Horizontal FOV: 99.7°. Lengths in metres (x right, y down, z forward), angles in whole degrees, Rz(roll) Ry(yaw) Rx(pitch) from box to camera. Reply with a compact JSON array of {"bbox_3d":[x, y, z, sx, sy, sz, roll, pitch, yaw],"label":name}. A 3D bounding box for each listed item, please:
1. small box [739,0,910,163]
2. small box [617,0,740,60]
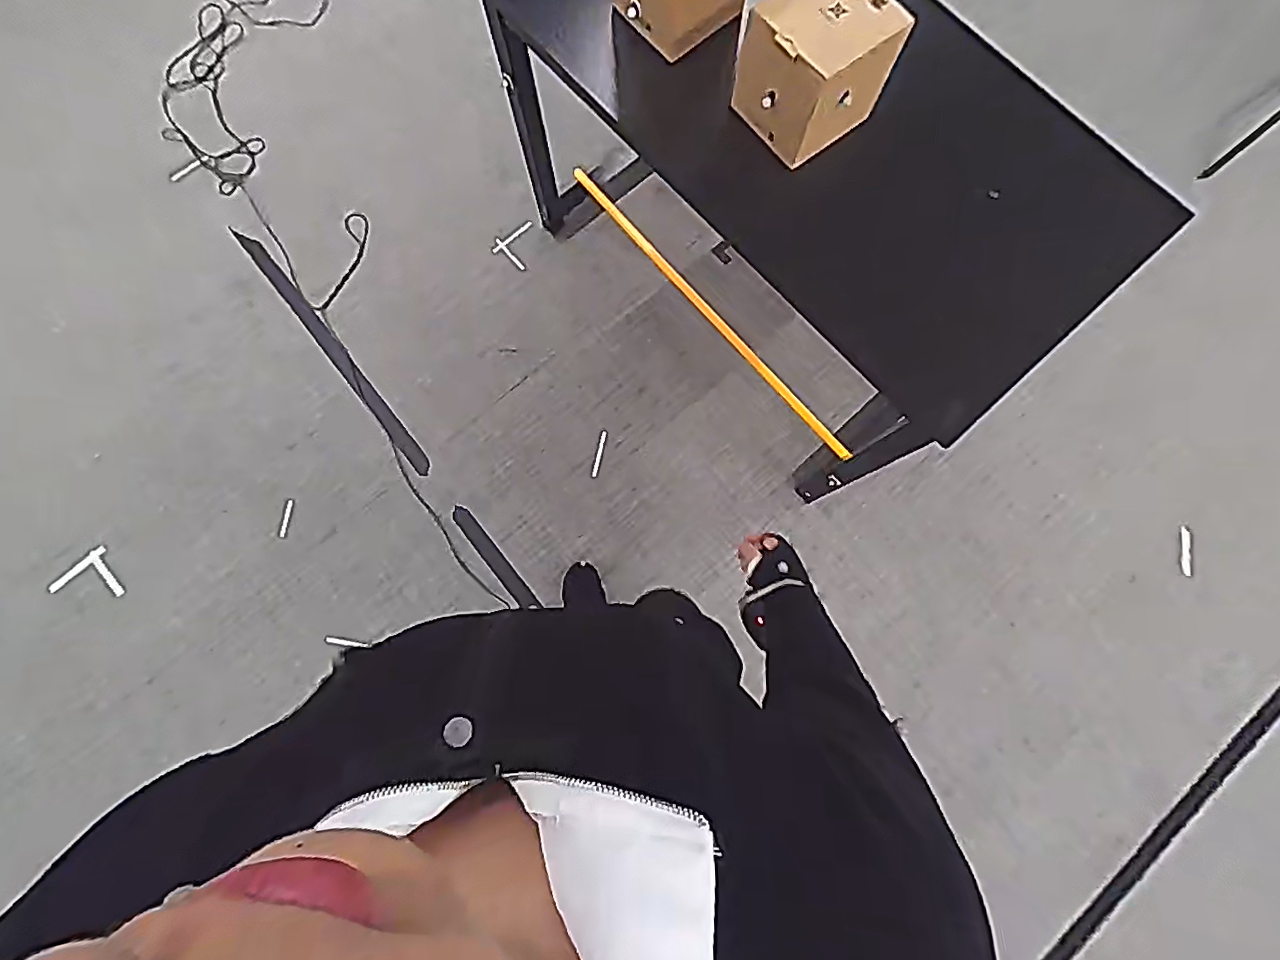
[{"bbox_3d":[0.273,-0.651,0.853,0.179,0.176,0.168,-38,82,-7],"label":"small box"},{"bbox_3d":[0.068,-0.861,0.893,0.179,0.176,0.168,-41,81,-7],"label":"small box"}]
